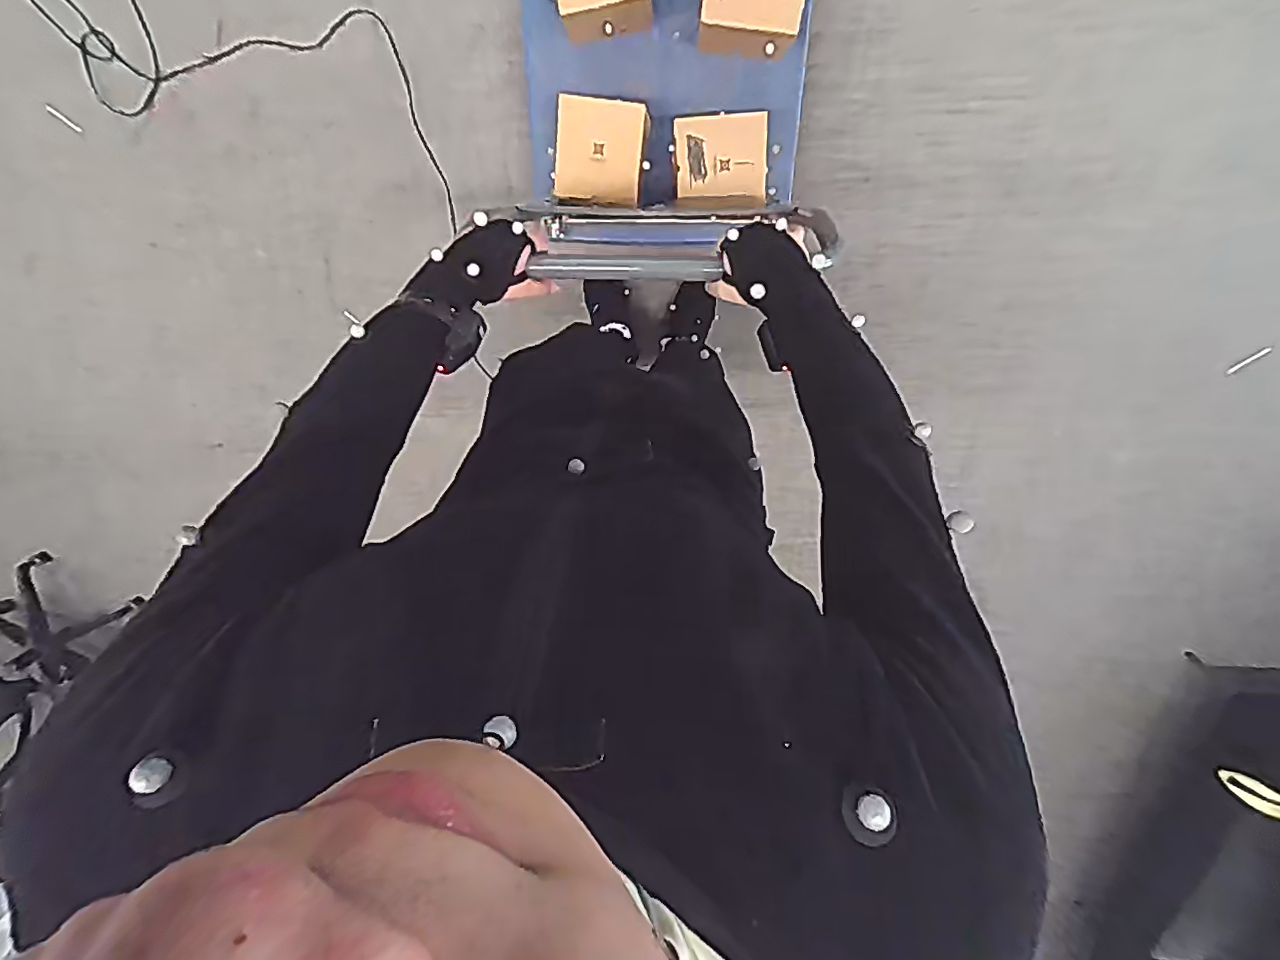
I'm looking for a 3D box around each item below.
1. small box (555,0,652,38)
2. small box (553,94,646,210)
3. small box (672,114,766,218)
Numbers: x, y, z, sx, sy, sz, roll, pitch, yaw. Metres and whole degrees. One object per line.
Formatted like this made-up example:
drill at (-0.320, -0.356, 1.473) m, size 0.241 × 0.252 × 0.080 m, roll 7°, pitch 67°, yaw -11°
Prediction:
small box at (-0.072, -0.940, 0.984) m, size 0.168 × 0.176 × 0.179 m, roll -6°, pitch 114°, yaw 6°
small box at (-0.078, -0.665, 1.115) m, size 0.168 × 0.176 × 0.179 m, roll 8°, pitch 116°, yaw 0°
small box at (0.157, -0.634, 1.108) m, size 0.179 × 0.176 × 0.168 m, roll -1°, pitch 115°, yaw 5°
